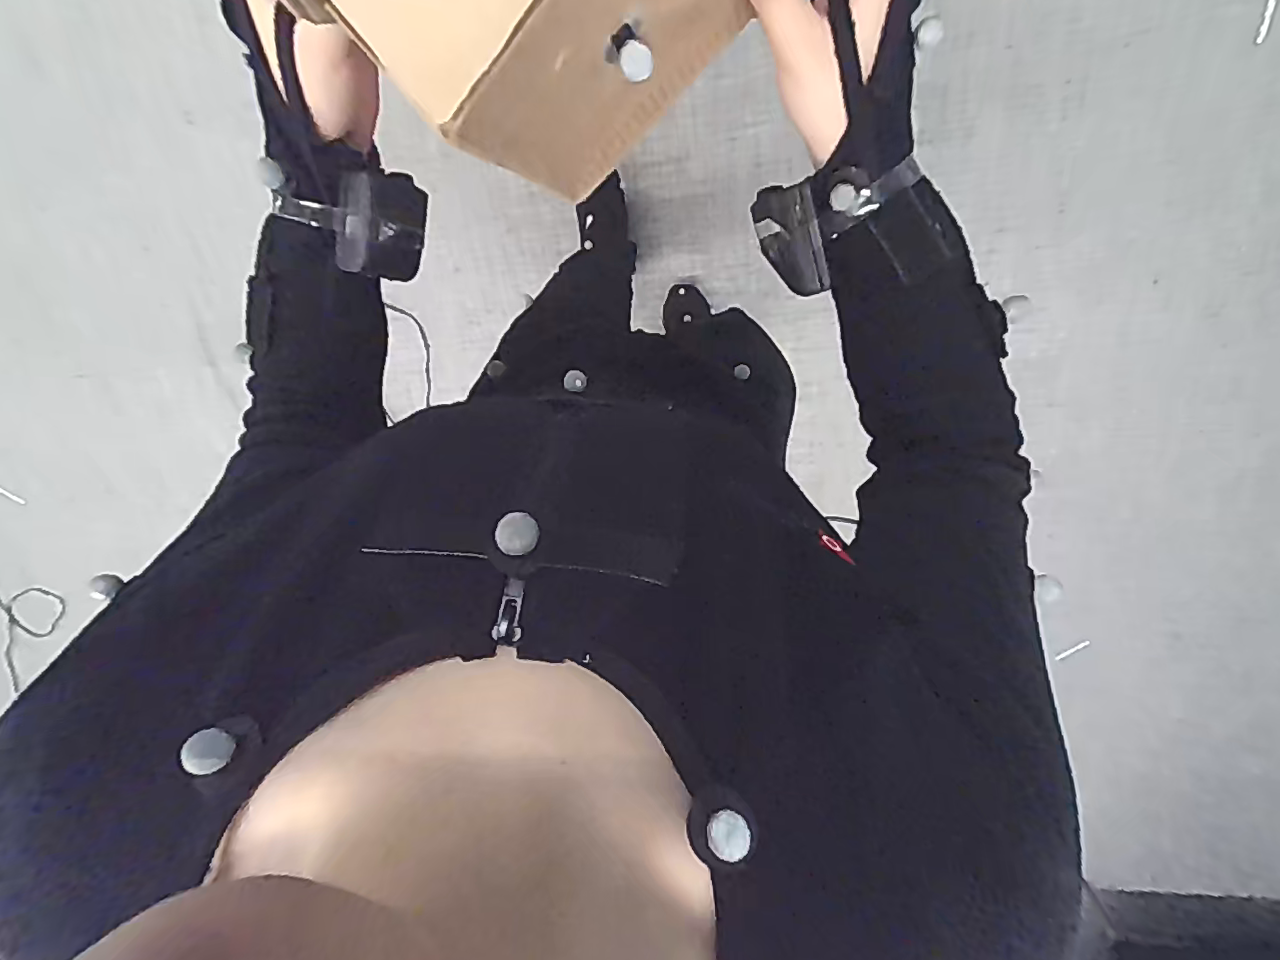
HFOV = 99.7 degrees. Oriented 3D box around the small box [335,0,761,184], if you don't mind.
[{"bbox_3d":[-0.044,-0.266,0.236,0.179,0.176,0.168,-38,98,21],"label":"small box"}]
